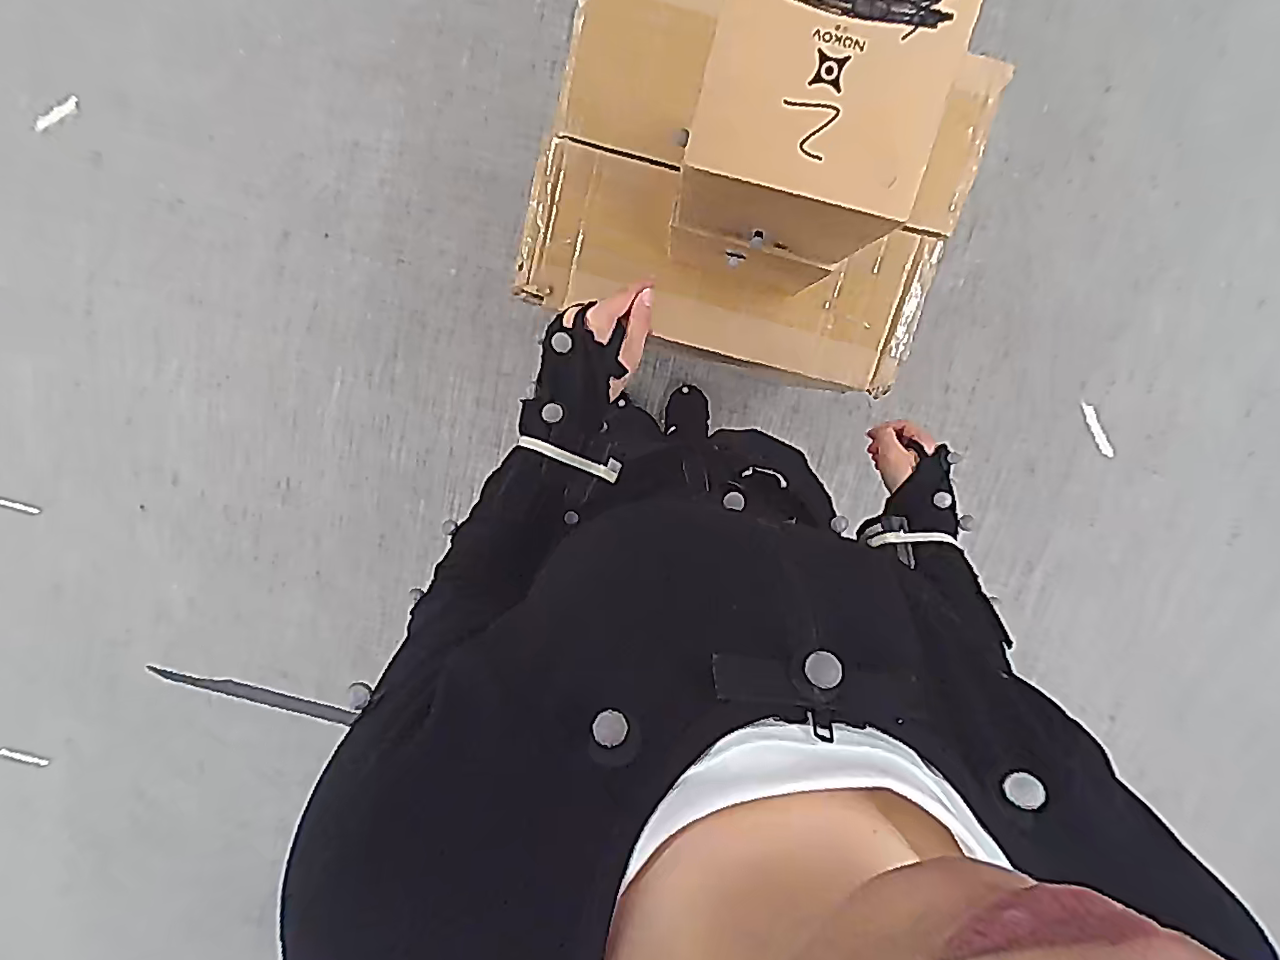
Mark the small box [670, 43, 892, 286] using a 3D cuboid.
[{"bbox_3d":[0.137,-0.326,0.600,0.179,0.176,0.168,15,102,-1],"label":"small box"}]
